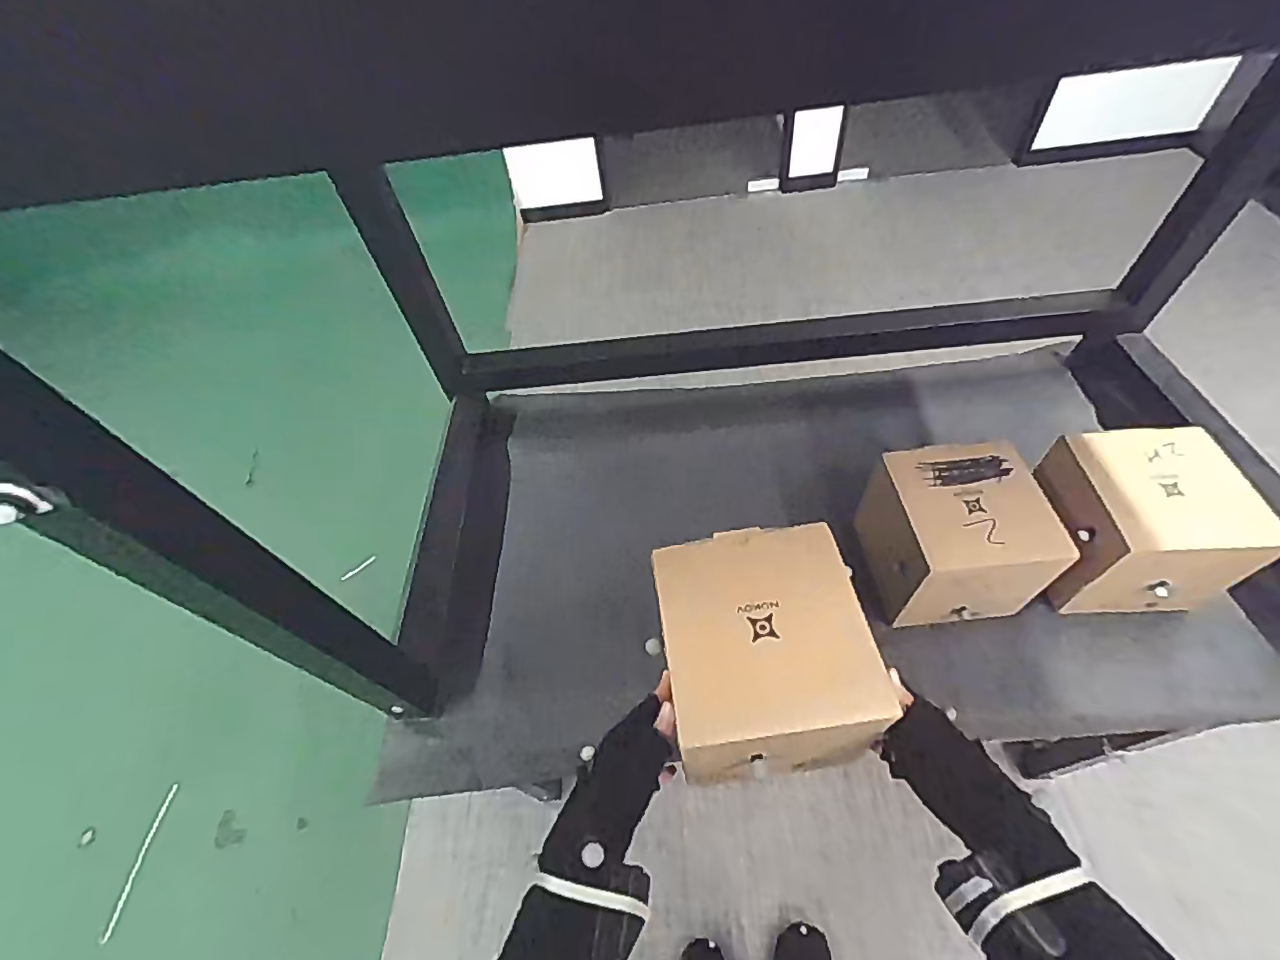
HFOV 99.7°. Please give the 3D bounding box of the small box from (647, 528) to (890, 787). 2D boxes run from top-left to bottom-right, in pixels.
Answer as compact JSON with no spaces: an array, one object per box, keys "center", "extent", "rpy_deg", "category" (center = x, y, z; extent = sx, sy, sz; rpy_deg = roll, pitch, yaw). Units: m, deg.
[{"center":[0.105,0.172,0.505],"extent":[0.168,0.176,0.179],"rpy_deg":[-9,50,1],"category":"small box"}]
